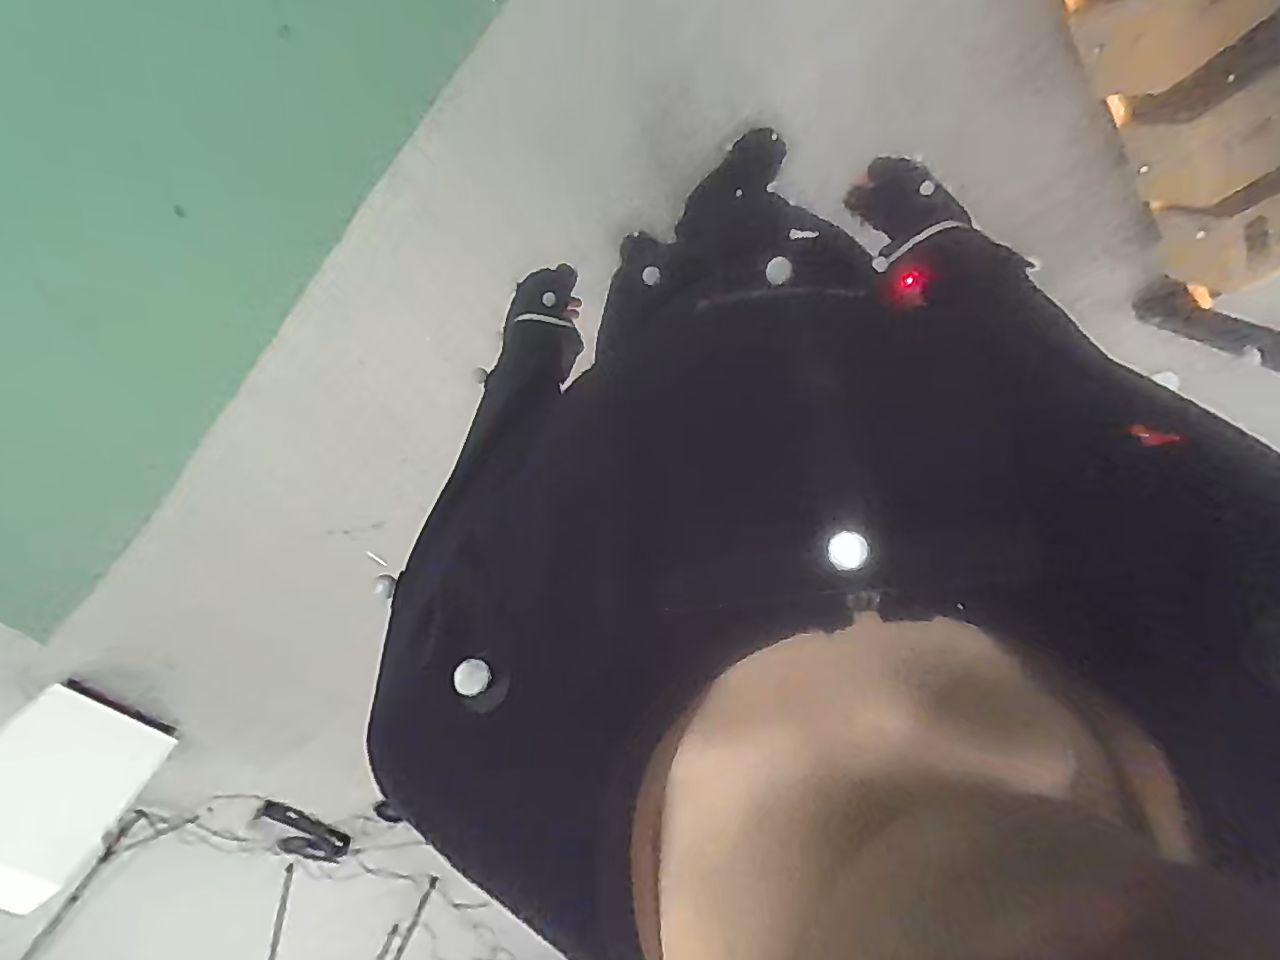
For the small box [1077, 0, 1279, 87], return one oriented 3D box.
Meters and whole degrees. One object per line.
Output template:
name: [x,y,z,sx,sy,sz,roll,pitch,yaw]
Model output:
small box: [0.885,-0.792,0.891,0.179,0.176,0.168,-36,115,24]
